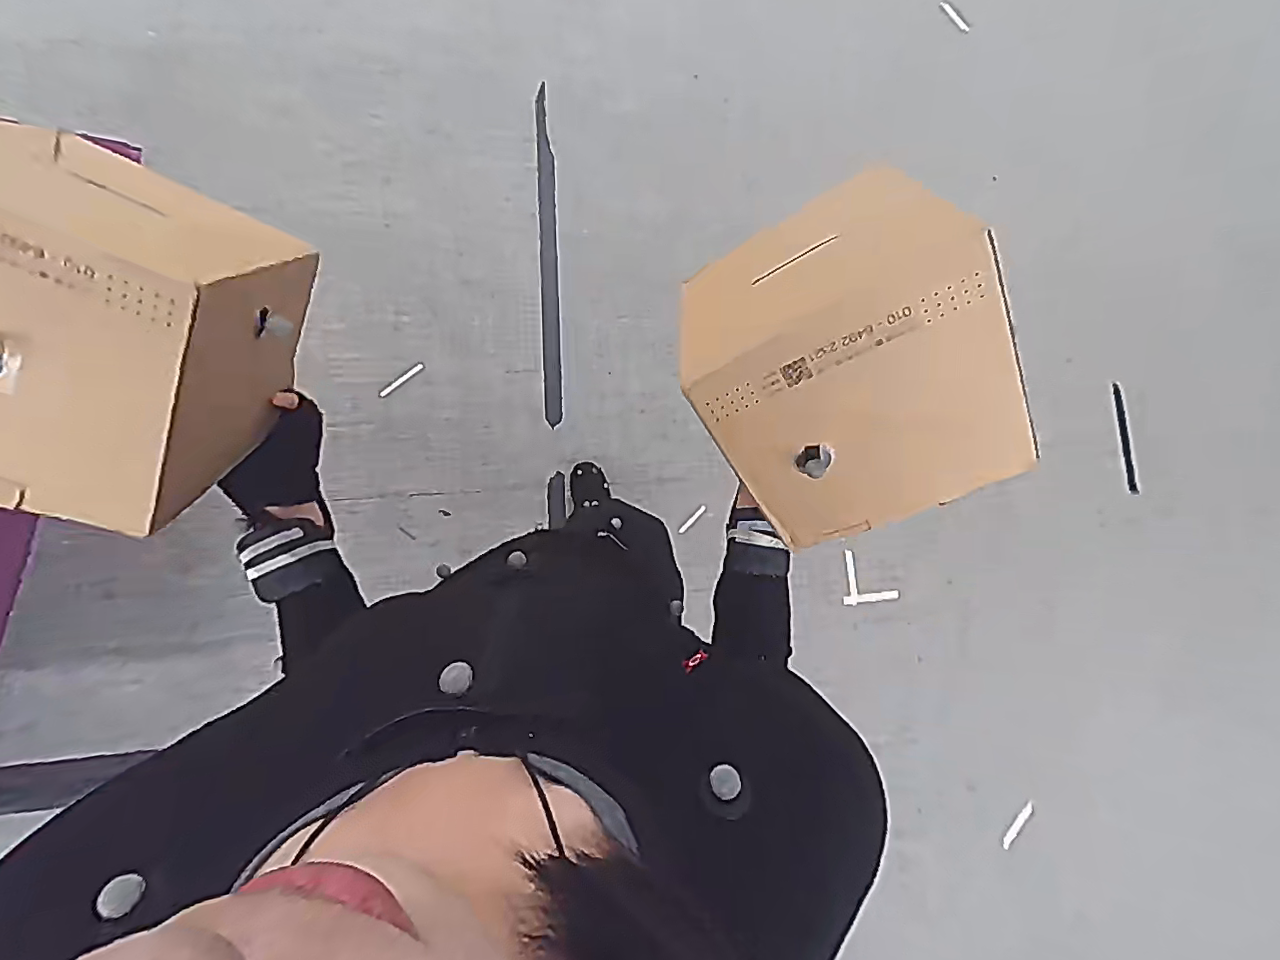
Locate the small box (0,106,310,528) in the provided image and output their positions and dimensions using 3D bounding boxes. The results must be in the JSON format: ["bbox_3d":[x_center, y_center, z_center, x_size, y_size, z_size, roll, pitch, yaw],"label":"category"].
[{"bbox_3d":[-0.332,-0.104,0.327,0.168,0.179,0.176,21,112,-20],"label":"small box"}]
